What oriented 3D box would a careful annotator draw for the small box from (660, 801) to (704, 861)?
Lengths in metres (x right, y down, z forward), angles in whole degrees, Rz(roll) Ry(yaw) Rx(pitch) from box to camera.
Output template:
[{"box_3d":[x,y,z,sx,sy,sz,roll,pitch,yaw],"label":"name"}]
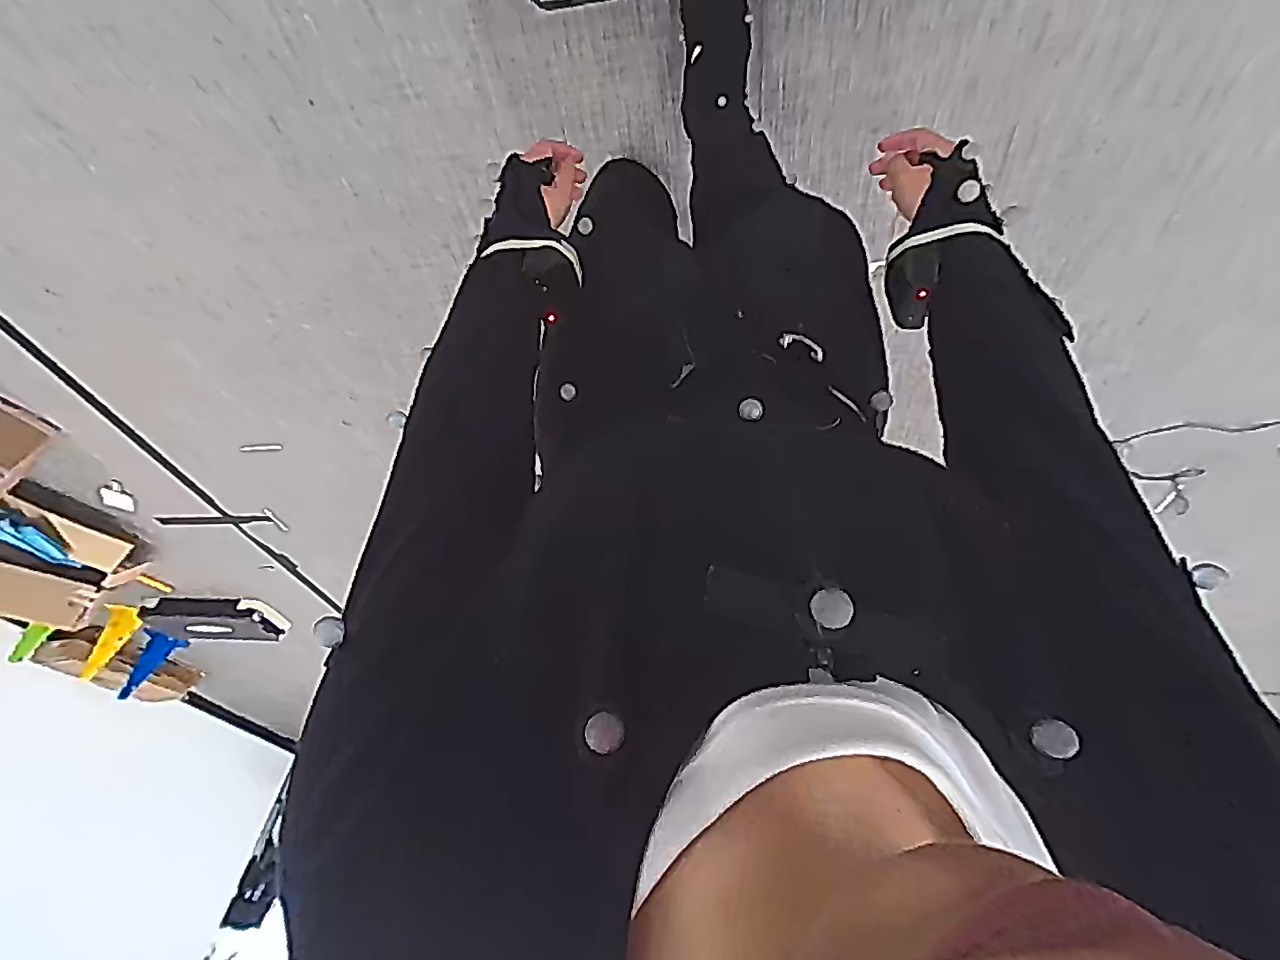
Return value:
[{"box_3d":[0.169,1.380,2.124,0.168,0.176,0.179,0,138,6],"label":"small box"}]
